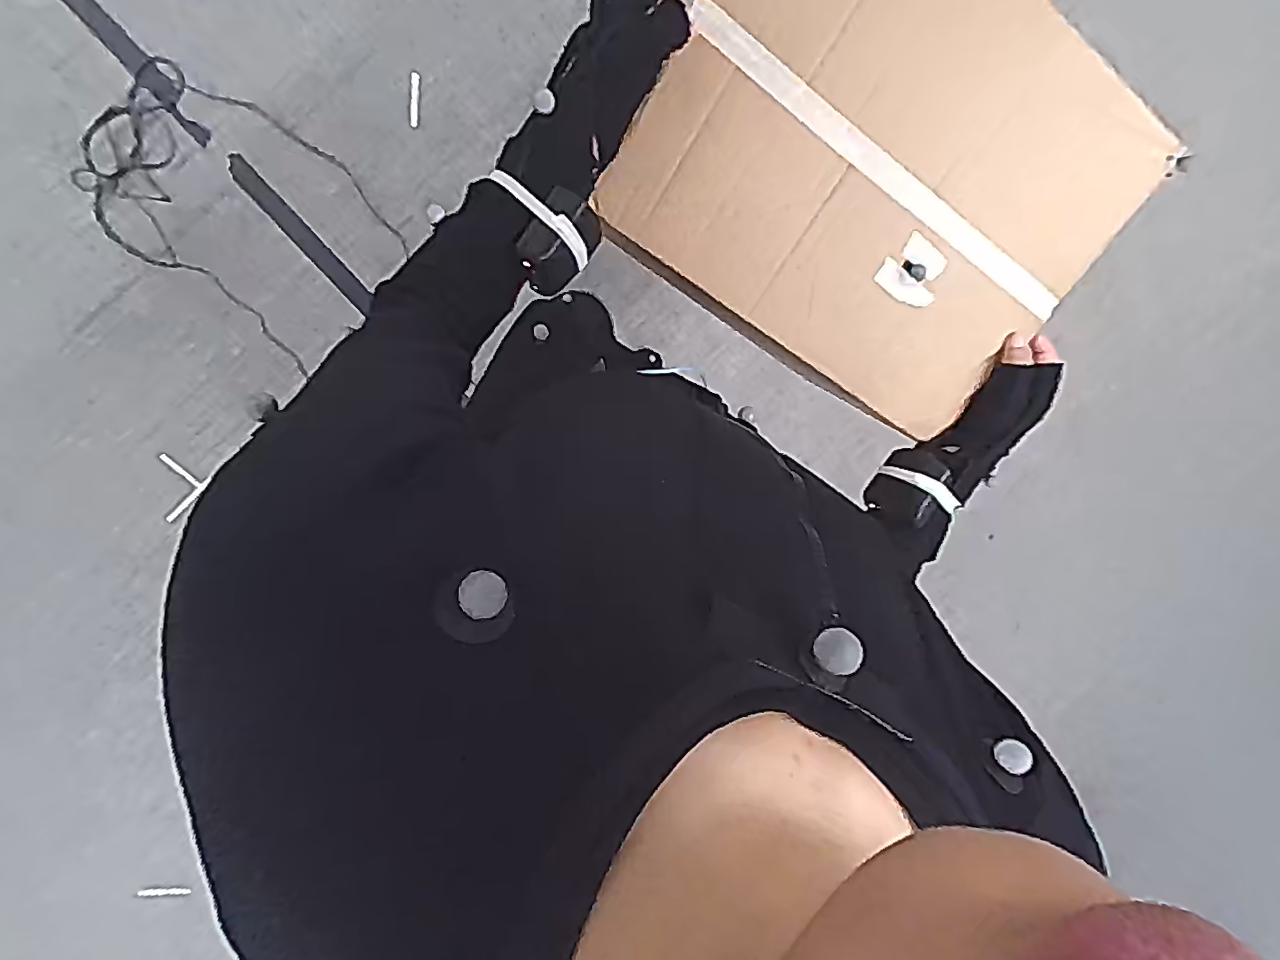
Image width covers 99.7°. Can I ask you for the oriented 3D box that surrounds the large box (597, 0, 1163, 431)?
[{"bbox_3d":[0.198,-0.317,0.598,0.408,0.320,0.320,30,108,-16],"label":"large box"}]
